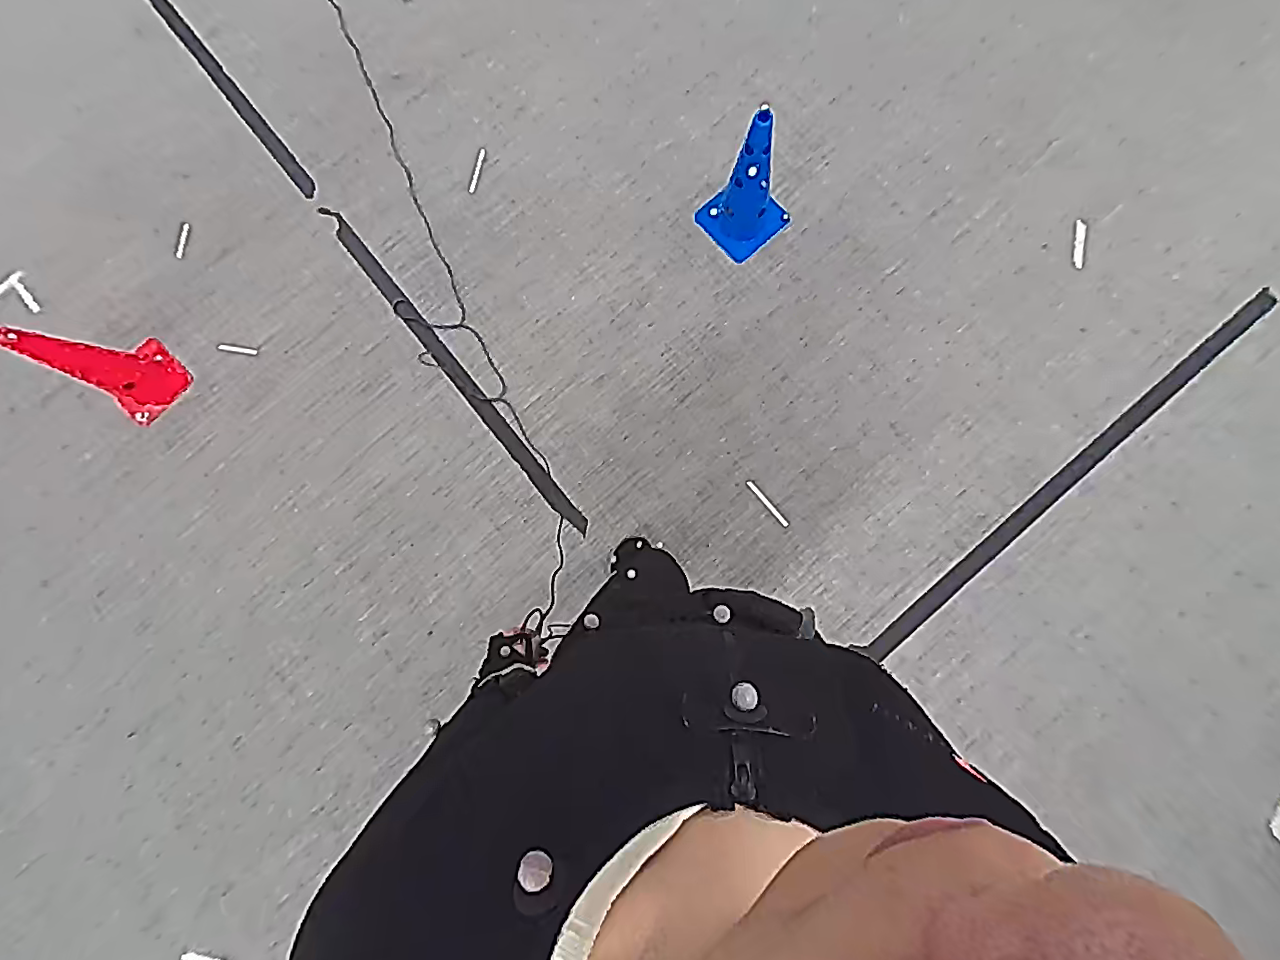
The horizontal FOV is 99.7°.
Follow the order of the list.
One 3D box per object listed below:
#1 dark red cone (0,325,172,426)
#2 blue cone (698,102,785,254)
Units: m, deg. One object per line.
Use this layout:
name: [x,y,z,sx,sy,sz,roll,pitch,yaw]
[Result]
dark red cone: [-1.431,-0.298,1.344,0.202,0.394,0.201,42,85,8]
blue cone: [0.269,-0.755,1.330,0.192,0.380,0.193,-40,82,-3]
